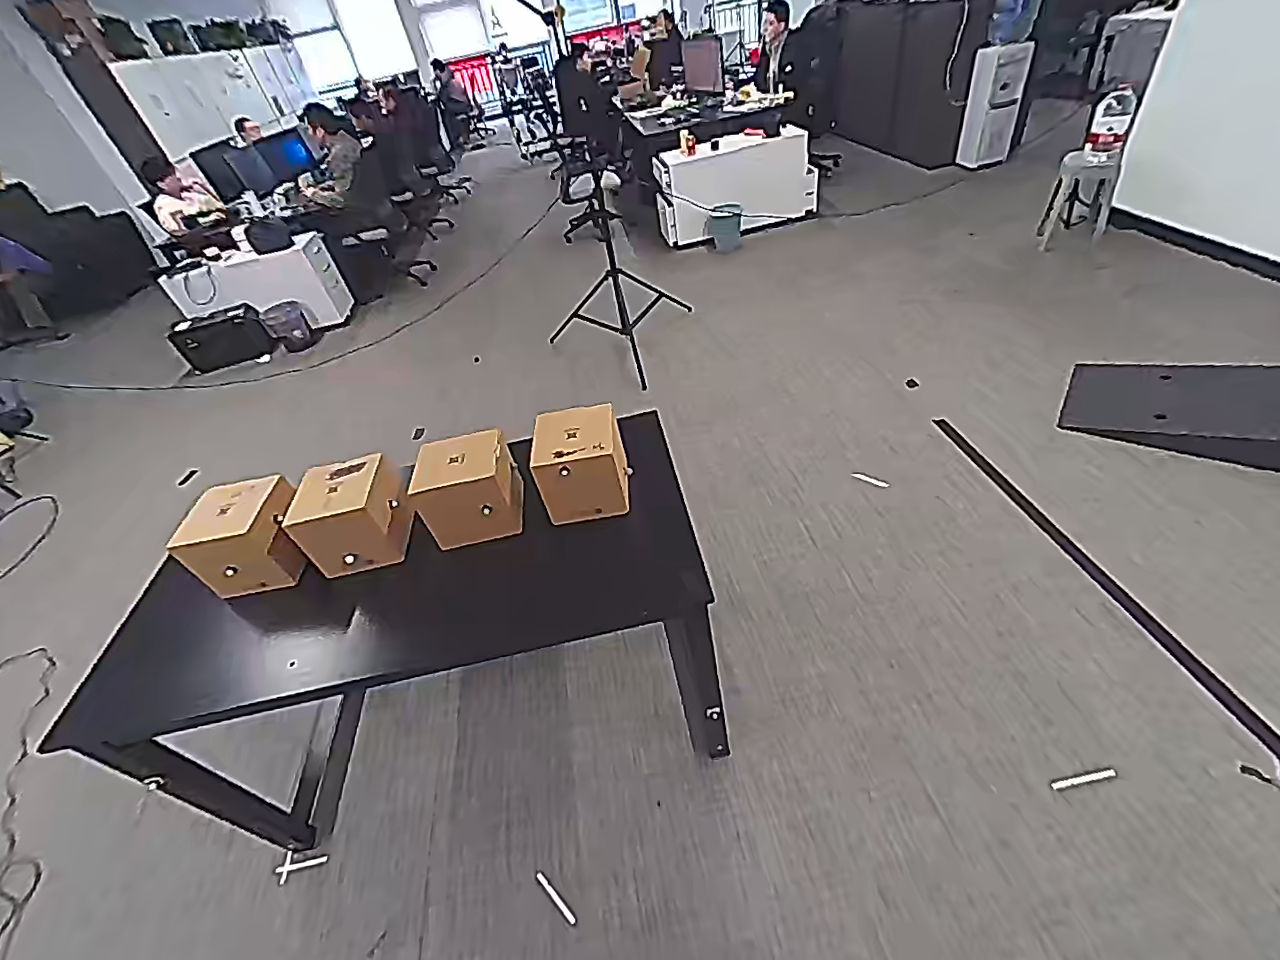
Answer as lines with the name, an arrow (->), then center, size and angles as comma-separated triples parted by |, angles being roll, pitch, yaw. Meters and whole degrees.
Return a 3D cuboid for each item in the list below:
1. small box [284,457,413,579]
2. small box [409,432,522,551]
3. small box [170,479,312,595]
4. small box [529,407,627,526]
small box -> -0.601, 0.081, 1.146 | 0.168, 0.176, 0.179 | -13, 42, -1
small box -> -0.358, 0.026, 1.150 | 0.179, 0.176, 0.168 | -14, 40, 0
small box -> -0.821, 0.127, 1.150 | 0.168, 0.176, 0.179 | -10, 41, 1
small box -> -0.123, -0.028, 1.148 | 0.168, 0.176, 0.179 | -10, 40, 4
